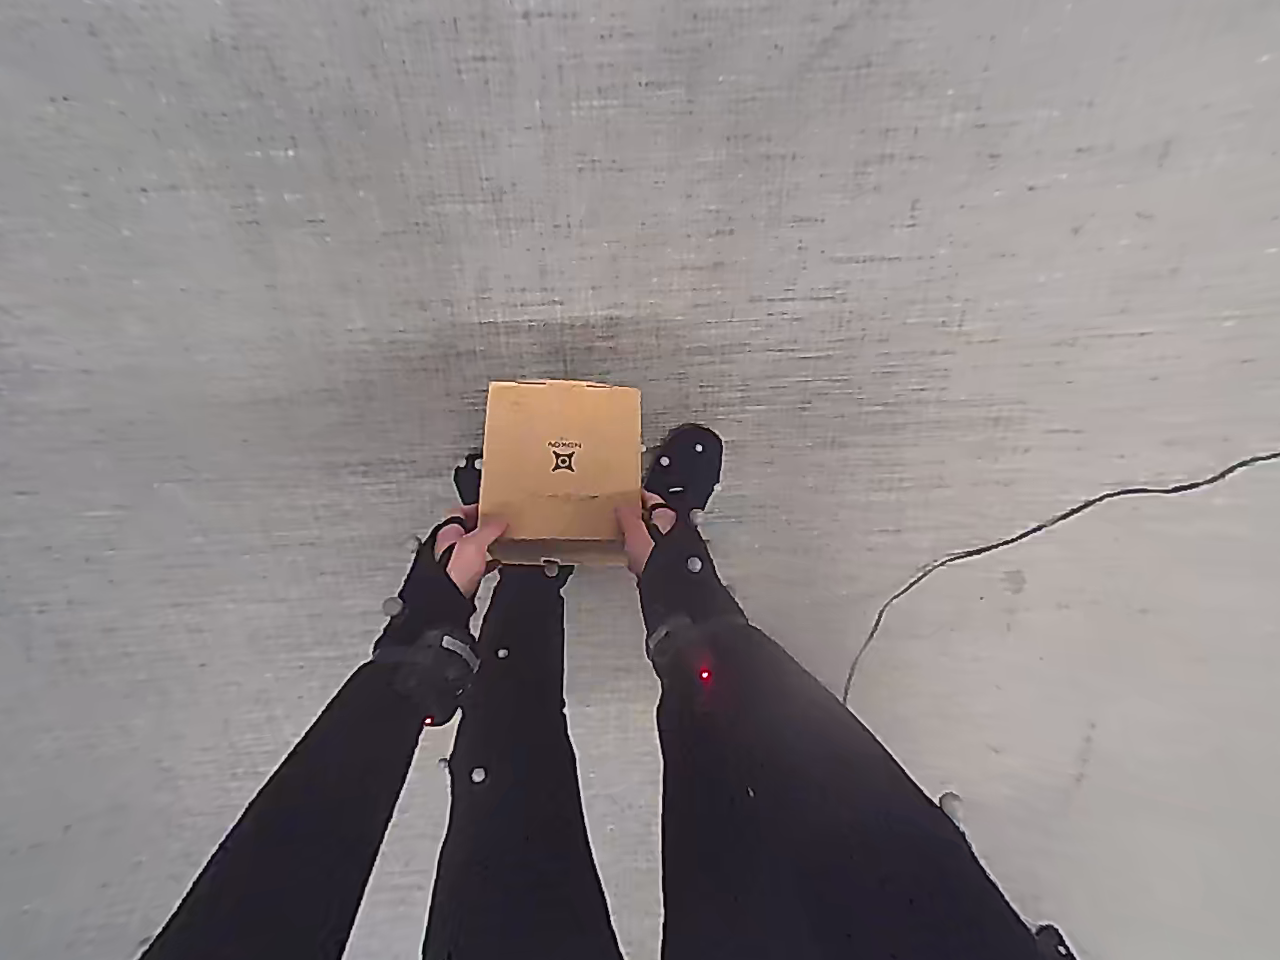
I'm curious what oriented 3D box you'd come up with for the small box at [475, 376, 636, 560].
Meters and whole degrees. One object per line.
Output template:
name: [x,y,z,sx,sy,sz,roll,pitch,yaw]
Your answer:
small box: [-0.096,-0.005,0.652,0.168,0.176,0.179,1,73,-7]
